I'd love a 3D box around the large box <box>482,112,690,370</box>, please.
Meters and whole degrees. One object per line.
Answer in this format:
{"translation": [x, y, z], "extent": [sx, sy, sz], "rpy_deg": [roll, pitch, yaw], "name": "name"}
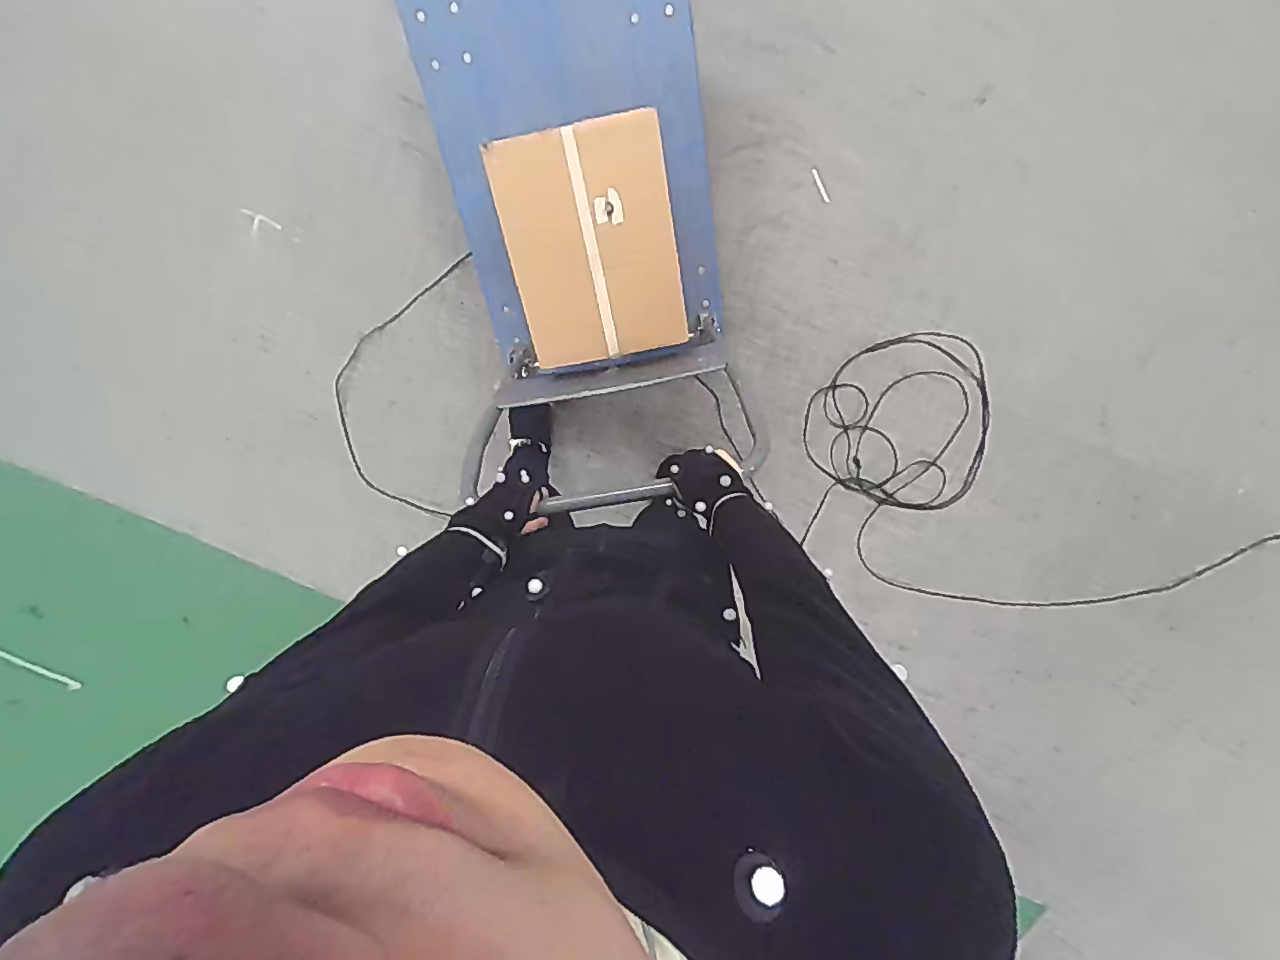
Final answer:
{"translation": [-0.088, -0.490, 1.148], "extent": [0.320, 0.320, 0.408], "rpy_deg": [-10, 116, 4], "name": "large box"}
